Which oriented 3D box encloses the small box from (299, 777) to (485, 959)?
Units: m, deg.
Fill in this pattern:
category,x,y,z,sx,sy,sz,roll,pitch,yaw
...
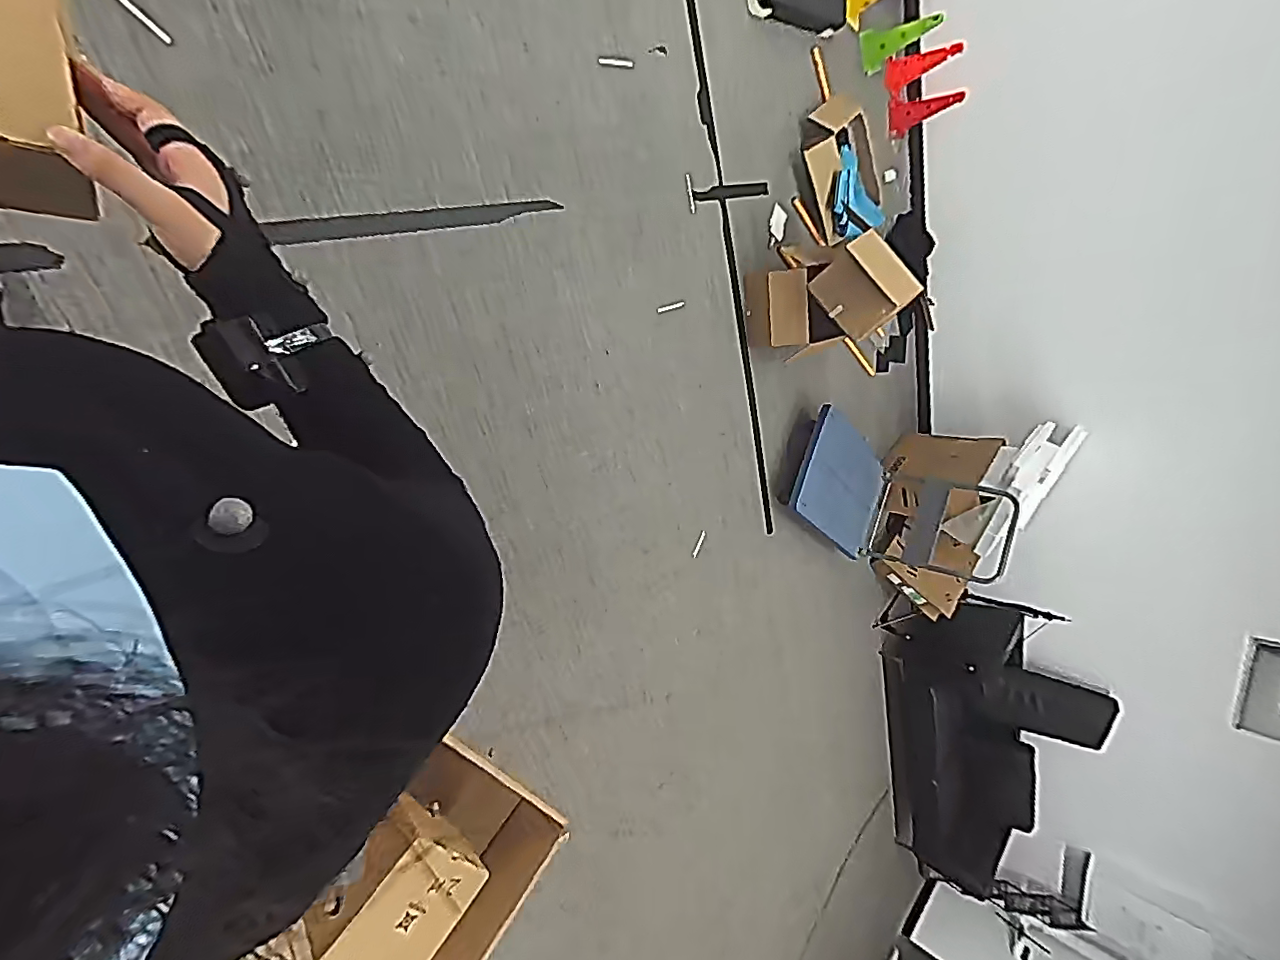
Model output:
category,x,y,z,sx,sy,sz,roll,pitch,yaw
small box,-0.377,0.597,0.814,0.179,0.176,0.168,-49,125,-26
